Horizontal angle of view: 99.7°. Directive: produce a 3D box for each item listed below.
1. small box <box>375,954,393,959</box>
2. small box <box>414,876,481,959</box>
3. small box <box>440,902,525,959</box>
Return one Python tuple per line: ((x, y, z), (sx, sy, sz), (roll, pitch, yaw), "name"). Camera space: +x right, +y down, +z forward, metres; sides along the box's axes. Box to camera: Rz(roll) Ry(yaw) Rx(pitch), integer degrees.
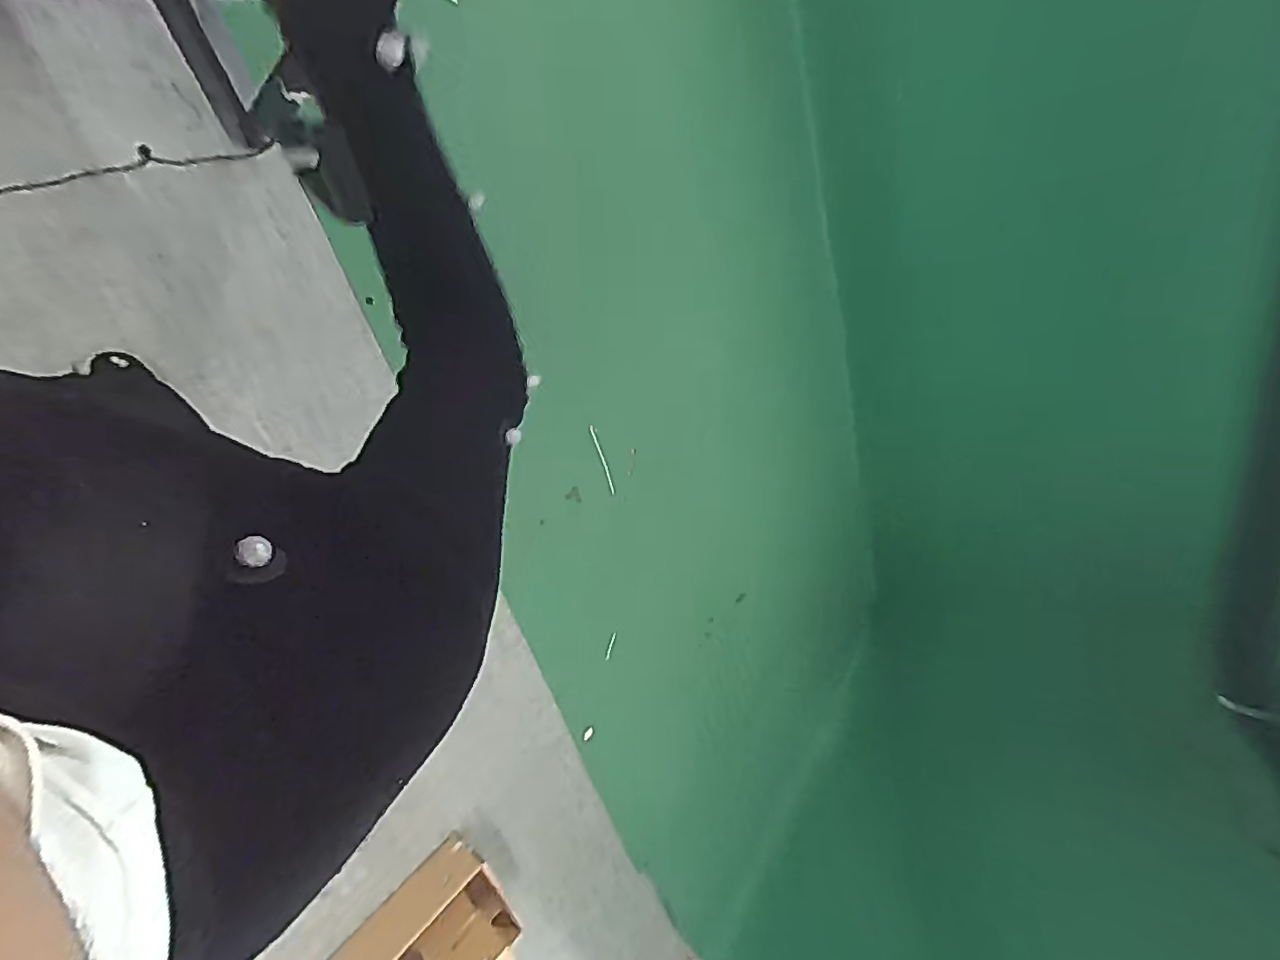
((-0.771, 1.576, 1.612), (0.168, 0.176, 0.179), (-38, 120, -38), "small box")
((-0.606, 1.453, 1.775), (0.168, 0.176, 0.179), (-38, 120, -37), "small box")
((-0.483, 1.464, 1.666), (0.168, 0.176, 0.179), (-33, 118, -41), "small box")
